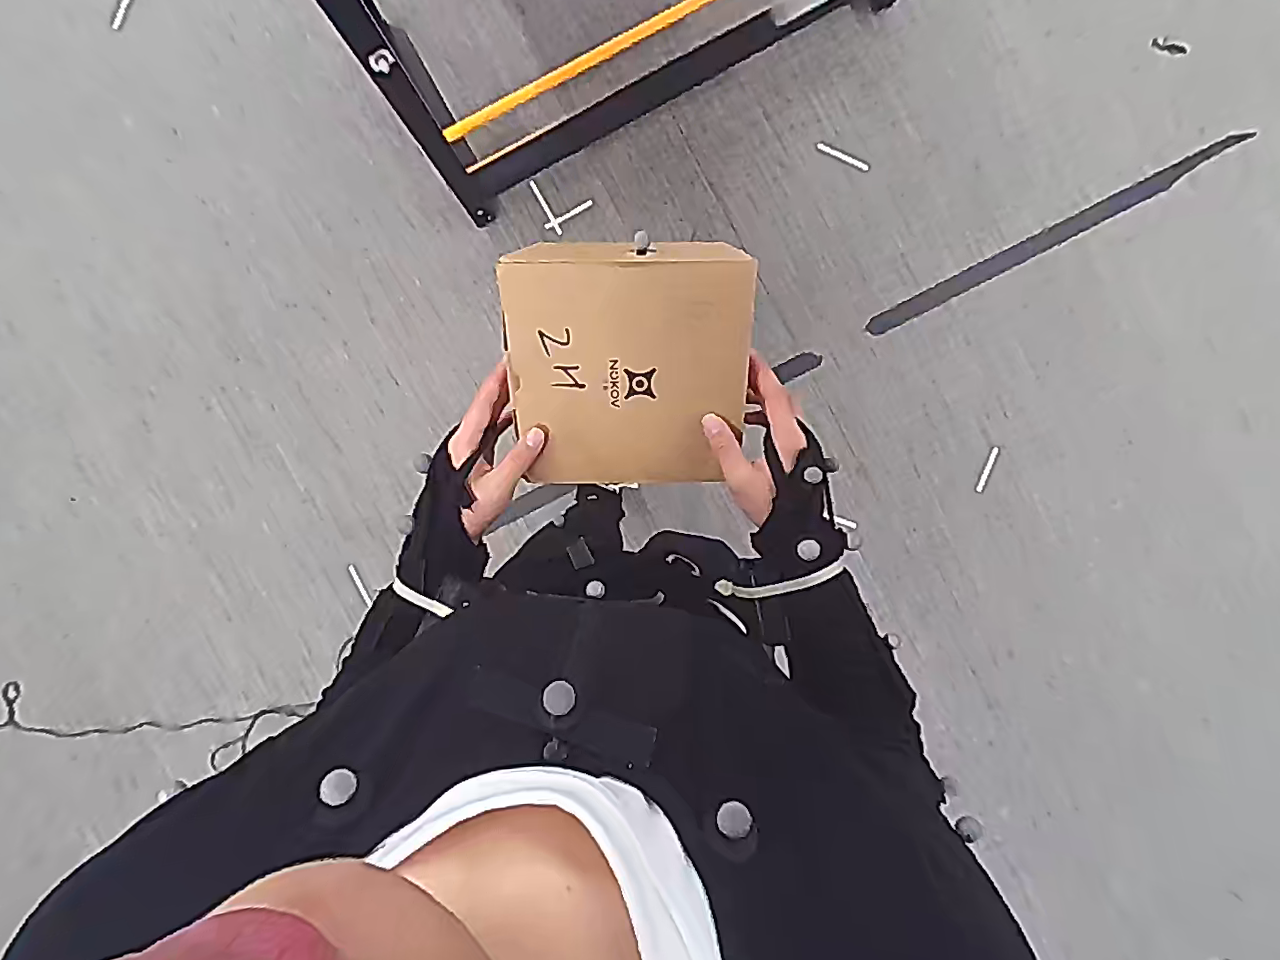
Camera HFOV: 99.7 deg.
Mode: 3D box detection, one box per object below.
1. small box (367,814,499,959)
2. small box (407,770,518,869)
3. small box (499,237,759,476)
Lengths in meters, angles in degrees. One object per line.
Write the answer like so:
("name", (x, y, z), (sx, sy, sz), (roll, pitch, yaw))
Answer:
("small box", (-0.427, 0.850, 1.142), (0.168, 0.176, 0.179), (-32, 91, 1))
("small box", (-0.421, 0.850, 1.303), (0.179, 0.176, 0.168), (-34, 91, 1))
("small box", (-0.008, -0.114, 0.463), (0.179, 0.176, 0.168), (0, 117, 1))
